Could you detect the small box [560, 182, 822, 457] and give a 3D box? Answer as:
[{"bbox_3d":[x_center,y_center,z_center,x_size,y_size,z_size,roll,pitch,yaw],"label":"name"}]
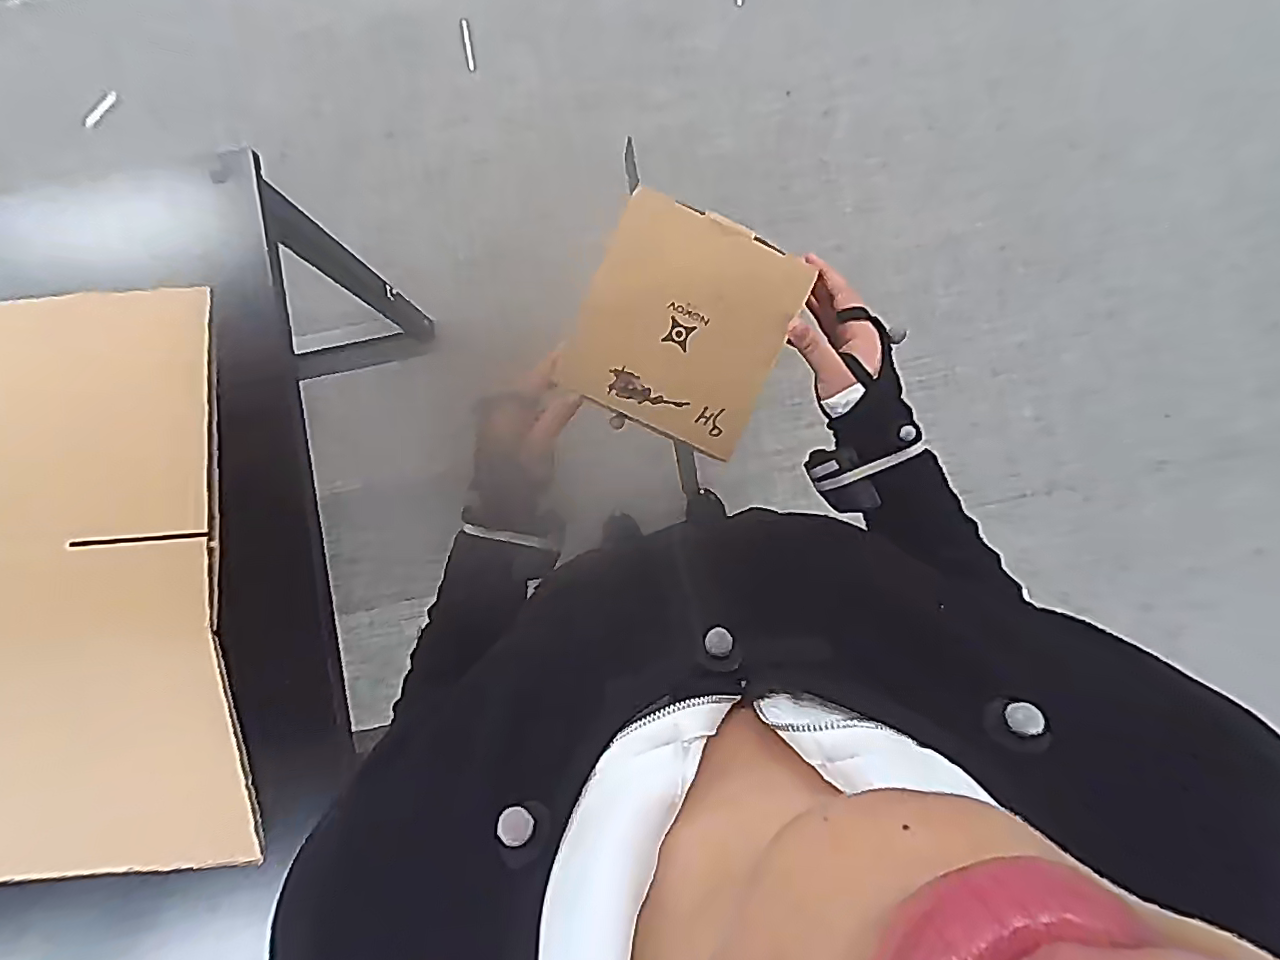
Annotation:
[{"bbox_3d":[0.041,-0.136,0.524,0.168,0.176,0.179,25,94,0],"label":"small box"}]
